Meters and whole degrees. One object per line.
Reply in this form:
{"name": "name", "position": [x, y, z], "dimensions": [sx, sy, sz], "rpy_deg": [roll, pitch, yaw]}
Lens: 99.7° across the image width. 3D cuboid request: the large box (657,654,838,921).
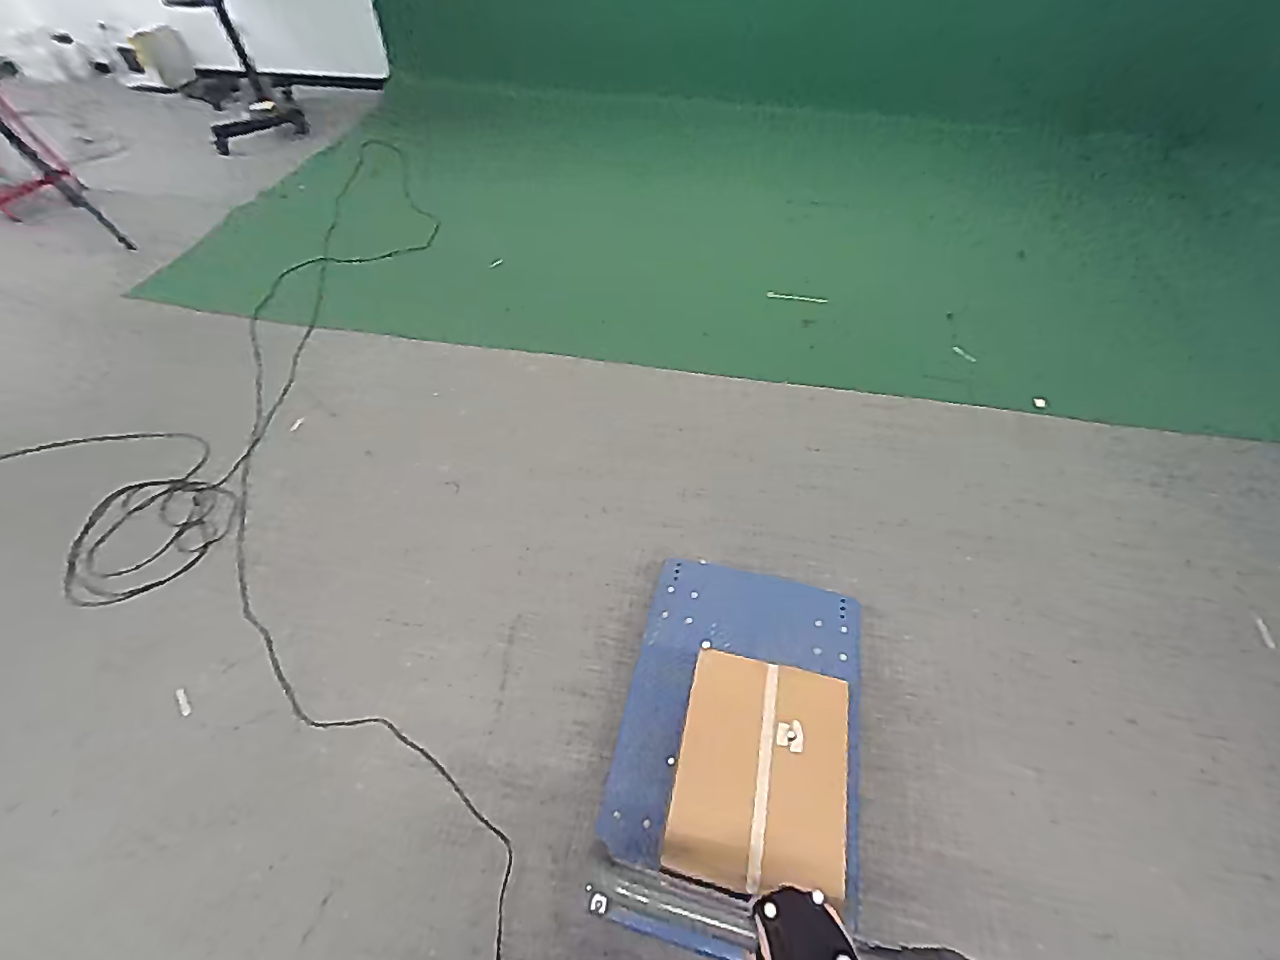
{"name": "large box", "position": [0.222, 0.648, 1.148], "dimensions": [0.320, 0.320, 0.408], "rpy_deg": [11, 52, 8]}
